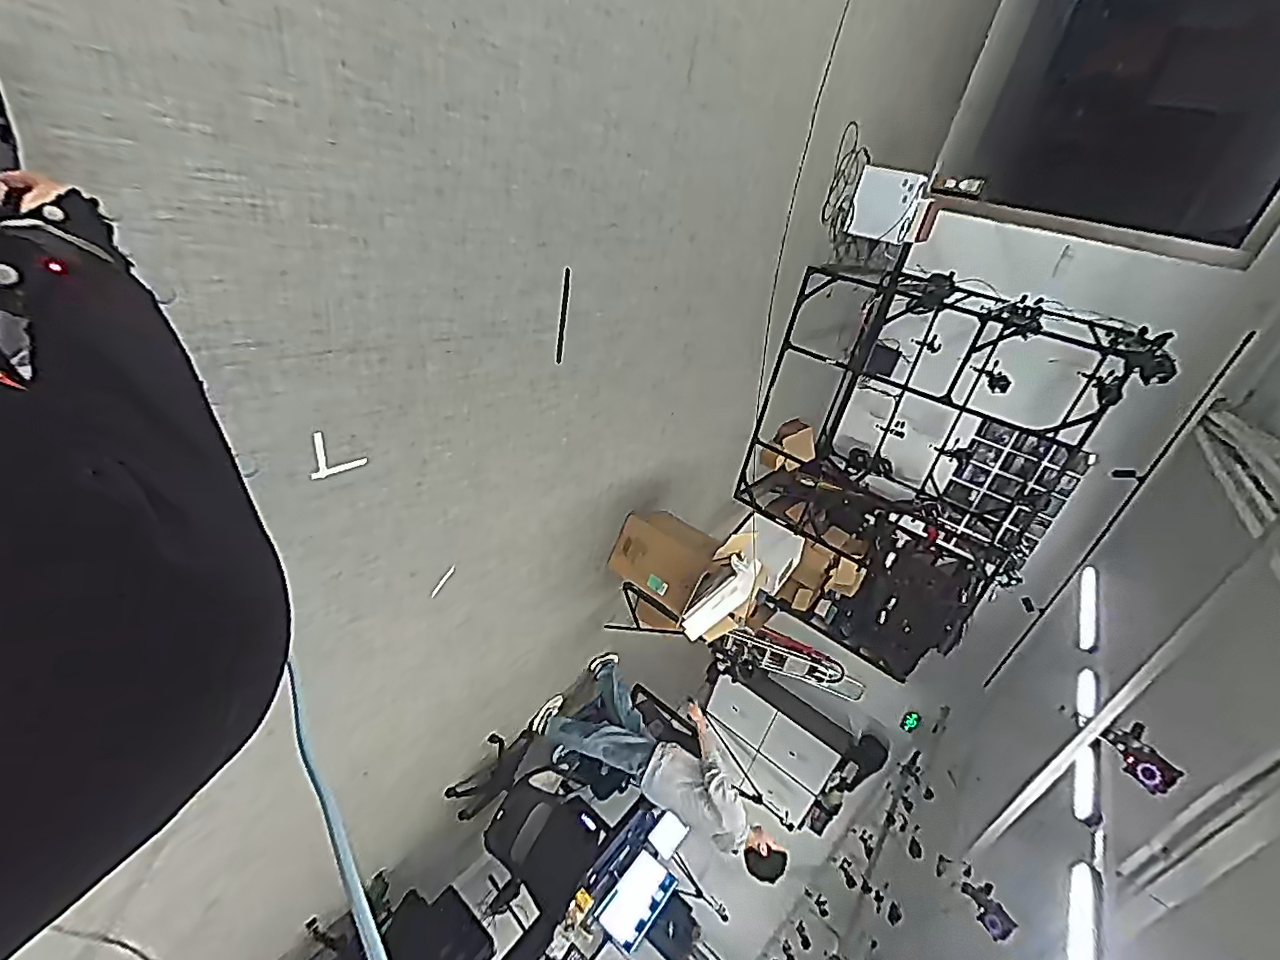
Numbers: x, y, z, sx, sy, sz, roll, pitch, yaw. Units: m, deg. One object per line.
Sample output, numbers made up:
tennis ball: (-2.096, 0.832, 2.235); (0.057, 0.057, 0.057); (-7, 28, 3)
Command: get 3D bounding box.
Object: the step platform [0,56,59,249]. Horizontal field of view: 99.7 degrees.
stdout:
step platform: (-1.223, -0.482, 0.669); (0.684, 0.204, 0.286); (-21, 132, -52)
